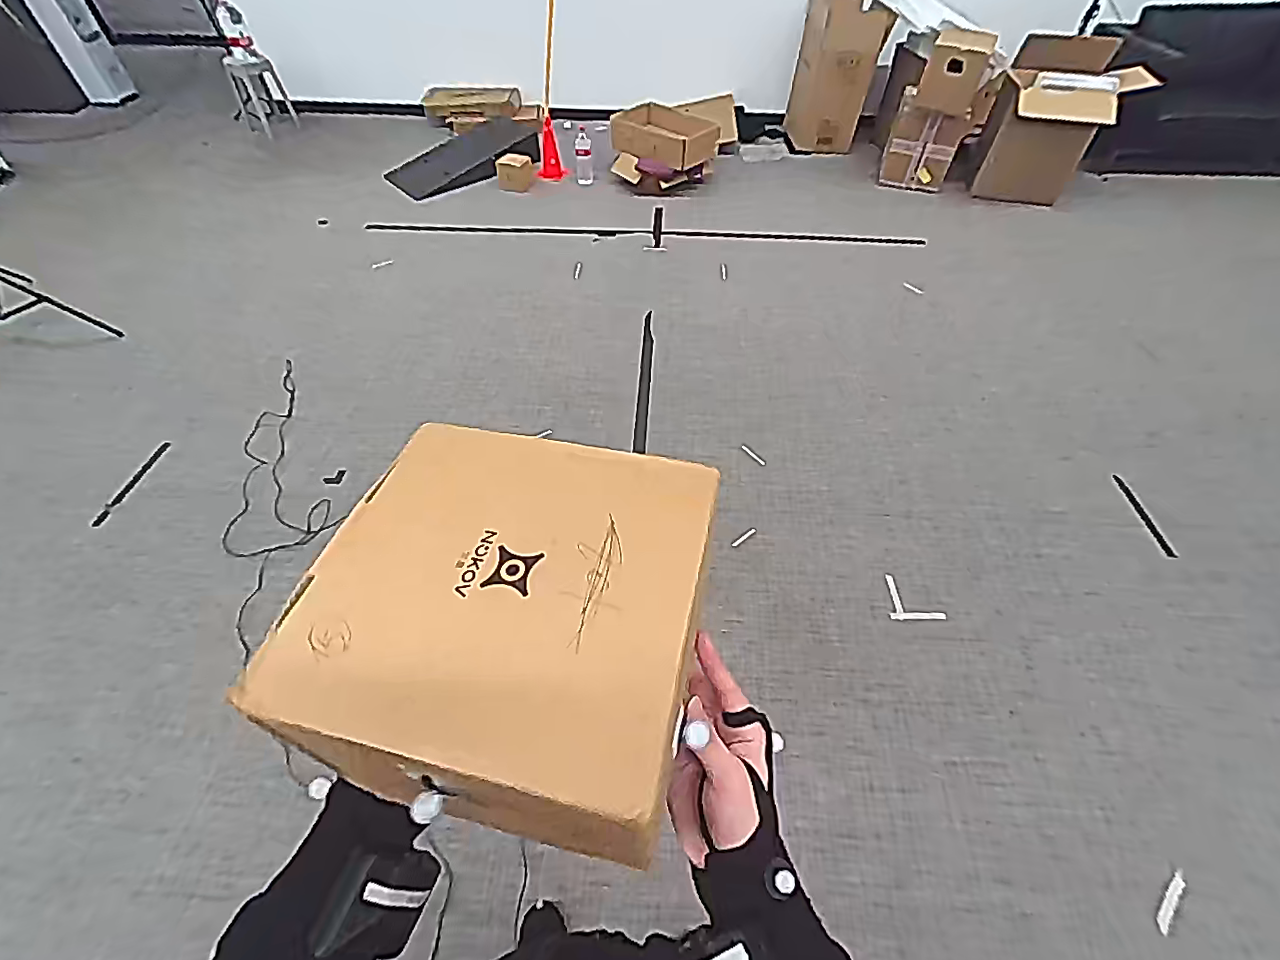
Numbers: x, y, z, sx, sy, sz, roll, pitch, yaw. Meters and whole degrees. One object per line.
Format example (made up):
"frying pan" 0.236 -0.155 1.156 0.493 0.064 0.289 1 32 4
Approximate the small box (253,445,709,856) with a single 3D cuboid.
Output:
"small box" -0.059 0.102 0.320 0.179 0.176 0.168 7 50 8
